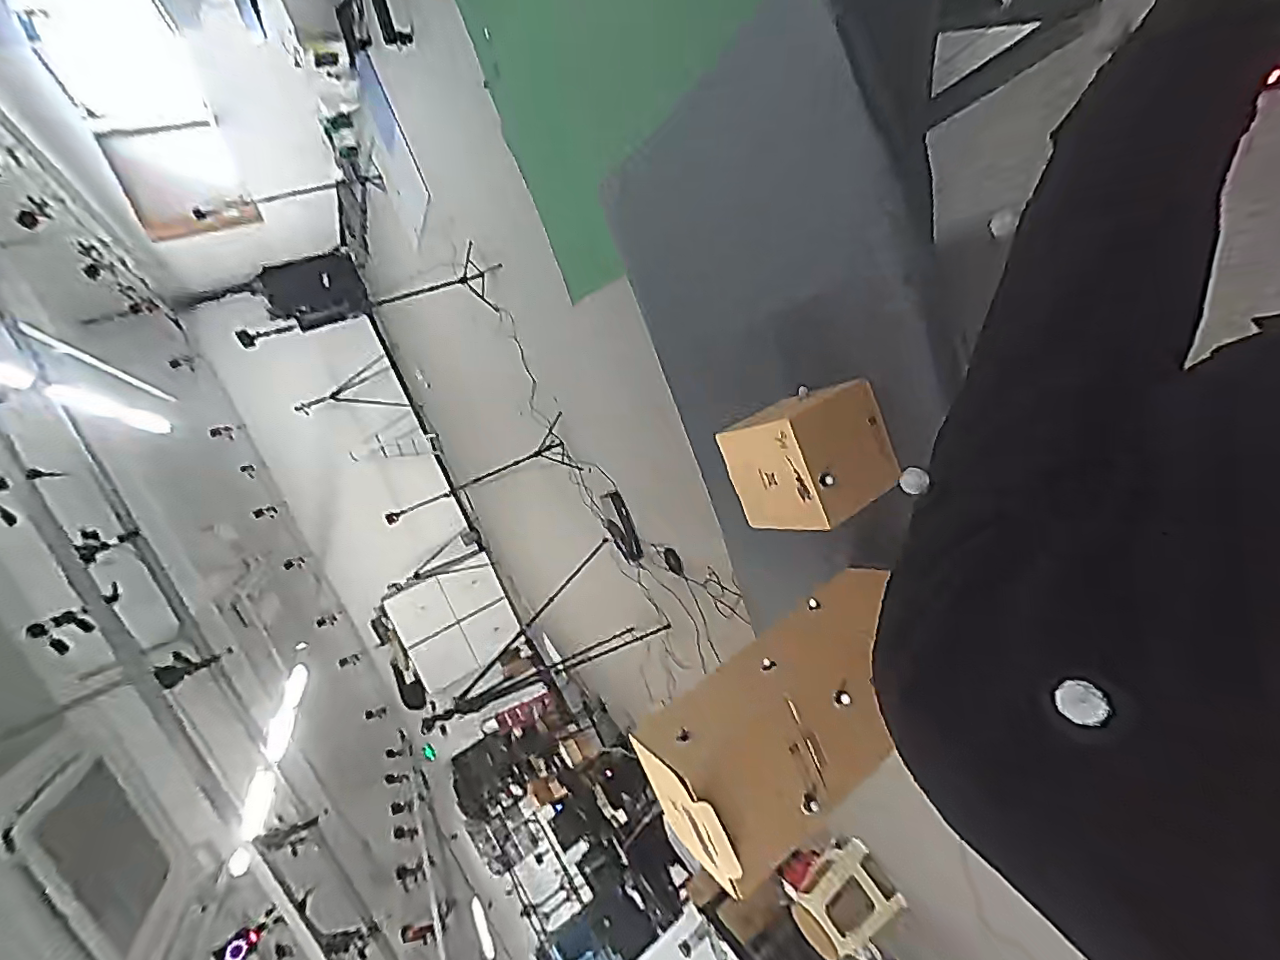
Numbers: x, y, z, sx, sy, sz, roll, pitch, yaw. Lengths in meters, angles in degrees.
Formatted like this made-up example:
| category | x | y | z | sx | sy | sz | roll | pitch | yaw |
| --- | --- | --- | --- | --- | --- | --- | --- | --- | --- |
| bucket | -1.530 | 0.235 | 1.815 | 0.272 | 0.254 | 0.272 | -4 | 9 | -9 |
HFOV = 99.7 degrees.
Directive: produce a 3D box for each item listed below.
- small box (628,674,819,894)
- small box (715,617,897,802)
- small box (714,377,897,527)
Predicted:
| category | x | y | z | sx | sy | sz | roll | pitch | yaw |
| --- | --- | --- | --- | --- | --- | --- | --- | --- | --- |
| small box | 0.116 | 0.389 | 0.735 | 0.168 | 0.176 | 0.179 | 66 | 156 | -4 |
| small box | 0.250 | 0.322 | 0.803 | 0.179 | 0.176 | 0.168 | -13 | 102 | 65 |
| small box | 0.250 | -0.041 | 0.829 | 0.179 | 0.176 | 0.168 | -7 | 109 | 64 |
